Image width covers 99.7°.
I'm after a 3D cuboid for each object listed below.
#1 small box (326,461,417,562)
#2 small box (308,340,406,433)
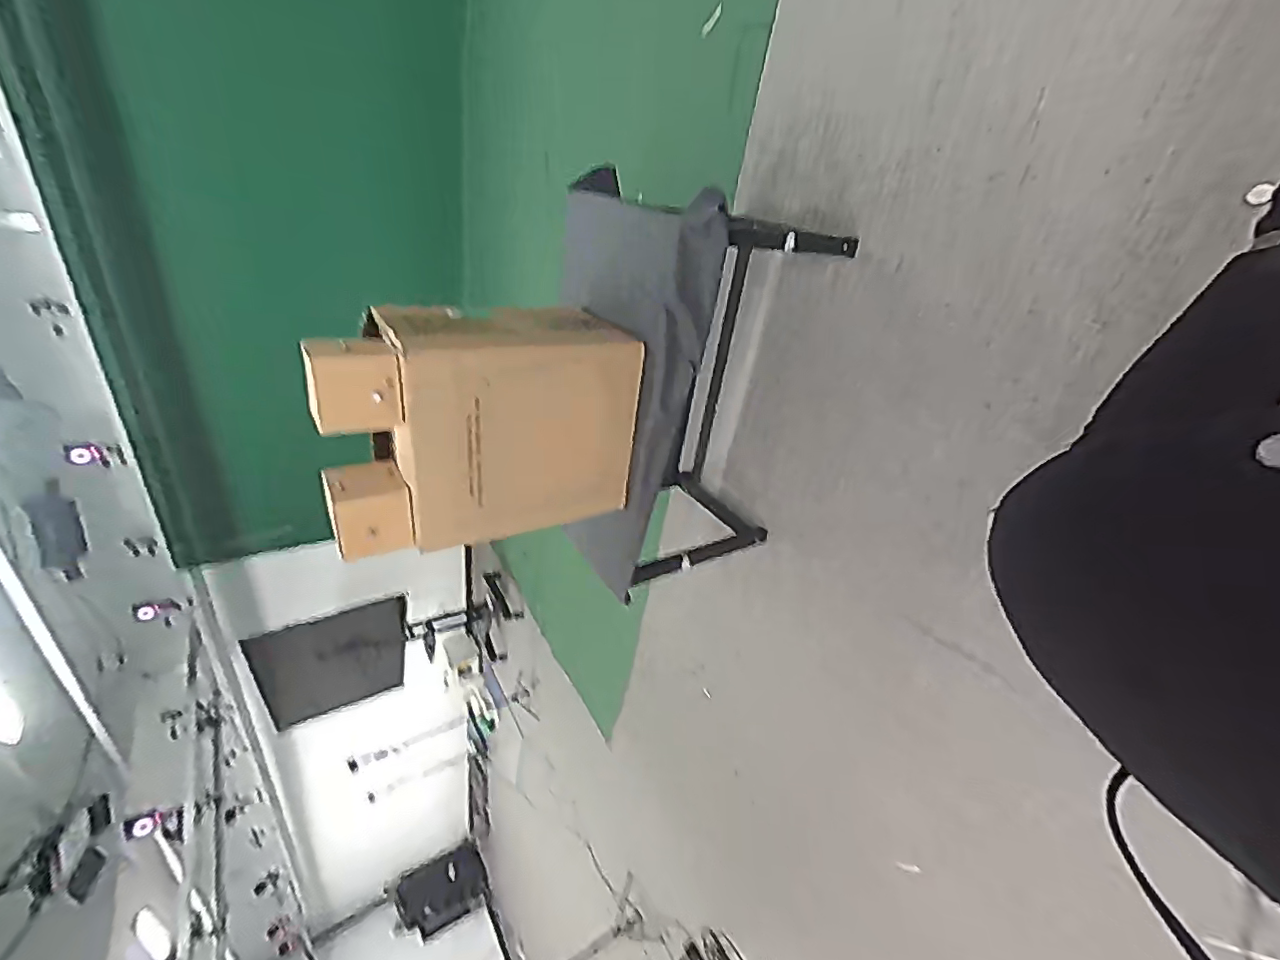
[{"bbox_3d":[-0.673,0.073,1.365,0.168,0.176,0.179,39,133,44],"label":"small box"},{"bbox_3d":[-0.635,-0.216,1.218,0.179,0.176,0.168,34,126,47],"label":"small box"}]
